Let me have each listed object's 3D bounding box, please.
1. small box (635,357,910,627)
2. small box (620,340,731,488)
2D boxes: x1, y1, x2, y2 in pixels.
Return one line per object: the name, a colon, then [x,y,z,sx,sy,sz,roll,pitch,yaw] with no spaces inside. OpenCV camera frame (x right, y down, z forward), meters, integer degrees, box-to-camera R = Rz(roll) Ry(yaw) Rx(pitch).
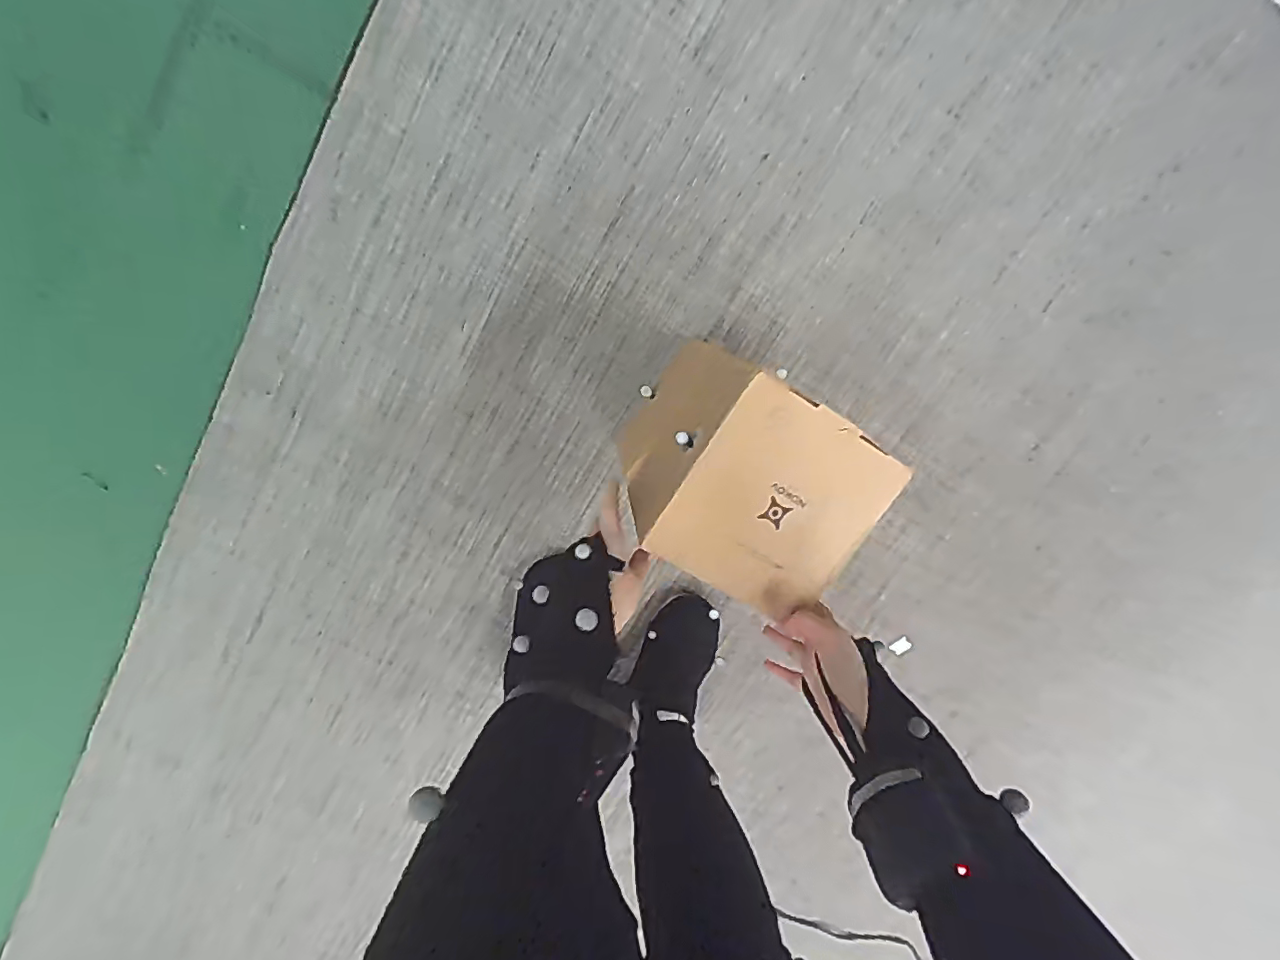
small box: [0.104,-0.002,0.520,0.168,0.176,0.179,29,103,-12]
small box: [0.087,-0.054,0.674,0.168,0.176,0.179,32,103,-14]
